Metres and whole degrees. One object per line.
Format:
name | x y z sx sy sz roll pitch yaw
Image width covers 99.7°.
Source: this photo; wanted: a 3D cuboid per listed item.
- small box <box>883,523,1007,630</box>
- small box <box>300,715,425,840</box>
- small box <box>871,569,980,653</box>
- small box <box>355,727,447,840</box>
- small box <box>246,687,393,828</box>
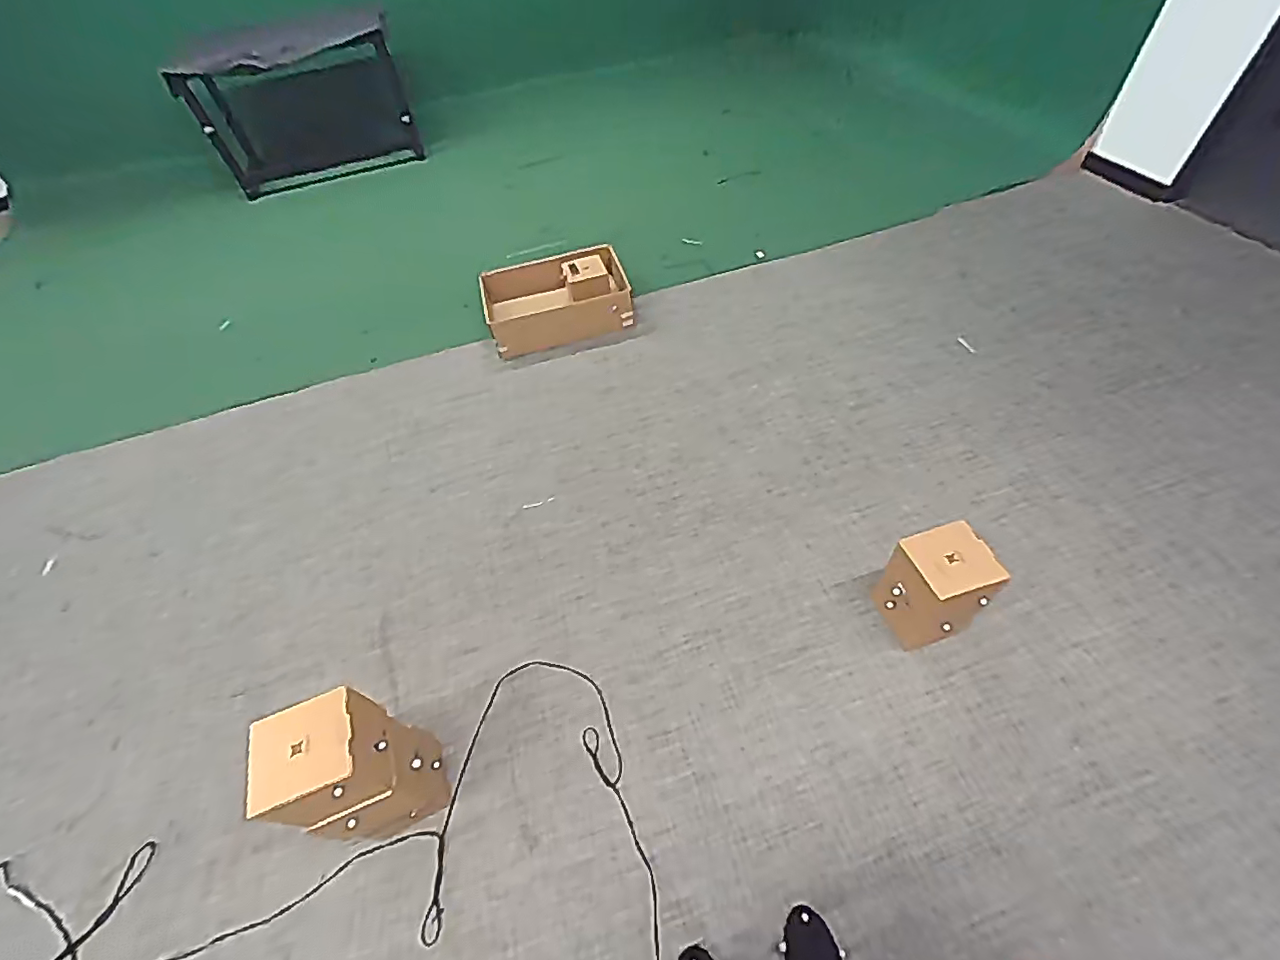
small box | 0.718 0.234 1.297 0.179 0.176 0.168 -17 51 -5
small box | -0.581 0.632 1.142 0.179 0.176 0.168 -20 53 -10
small box | 0.742 0.327 1.429 0.168 0.176 0.179 -17 52 -6
small box | -0.575 0.721 1.280 0.179 0.176 0.168 -24 53 -11
small box | -0.595 0.527 1.019 0.179 0.176 0.168 -21 53 -11
